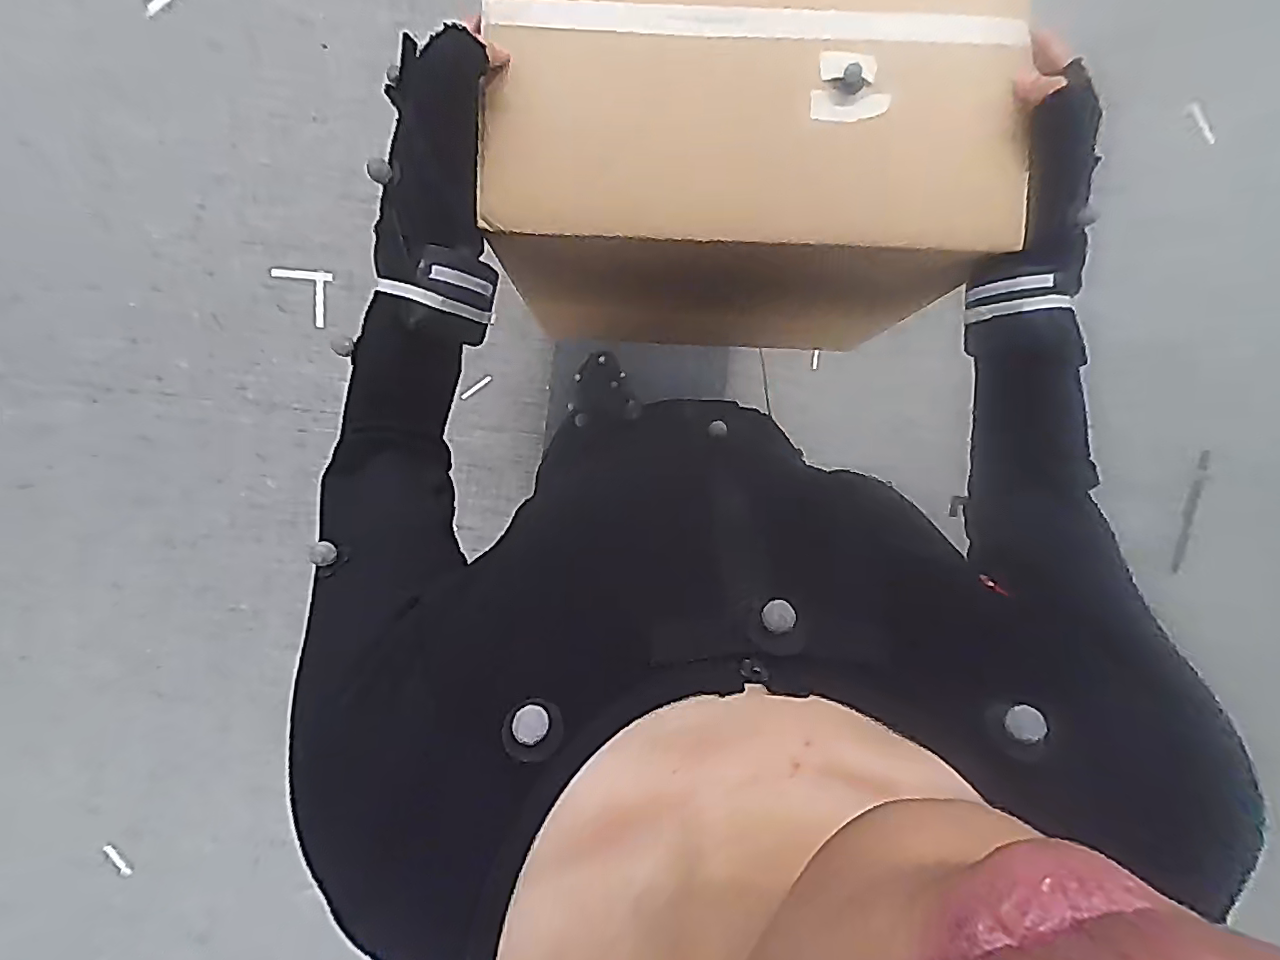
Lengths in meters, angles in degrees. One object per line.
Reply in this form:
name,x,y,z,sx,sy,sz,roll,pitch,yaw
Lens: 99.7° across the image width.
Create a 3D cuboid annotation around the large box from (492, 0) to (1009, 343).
large box,0.082,-0.337,0.565,0.408,0.320,0.320,2,90,-1
